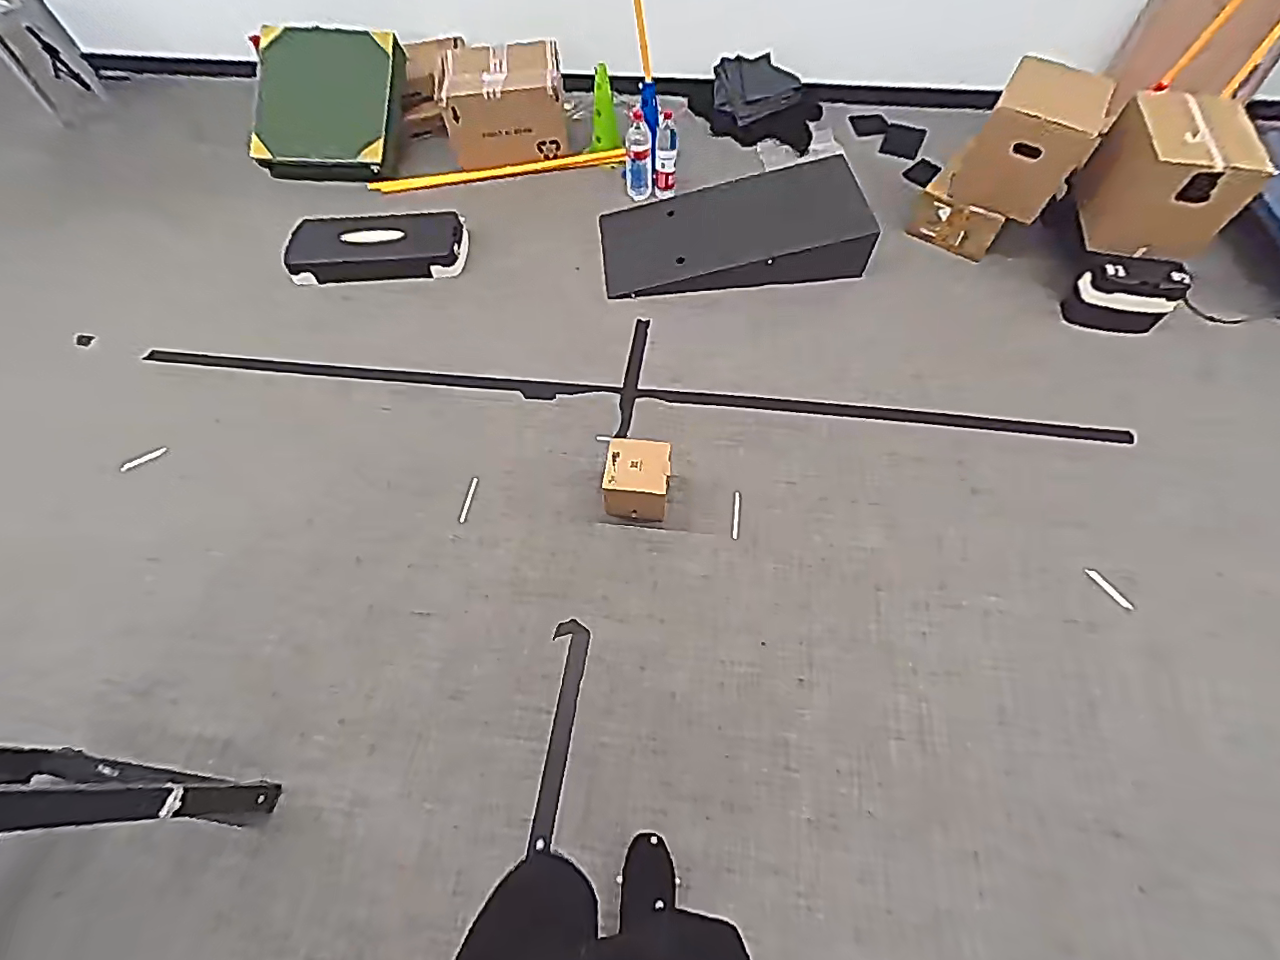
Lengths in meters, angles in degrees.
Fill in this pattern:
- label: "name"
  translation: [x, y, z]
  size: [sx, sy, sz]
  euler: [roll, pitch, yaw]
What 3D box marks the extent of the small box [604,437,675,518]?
- label: "small box"
  translation: [-0.001, -0.002, 1.545]
  size: [0.179, 0.176, 0.168]
  euler: [7, 61, 4]
